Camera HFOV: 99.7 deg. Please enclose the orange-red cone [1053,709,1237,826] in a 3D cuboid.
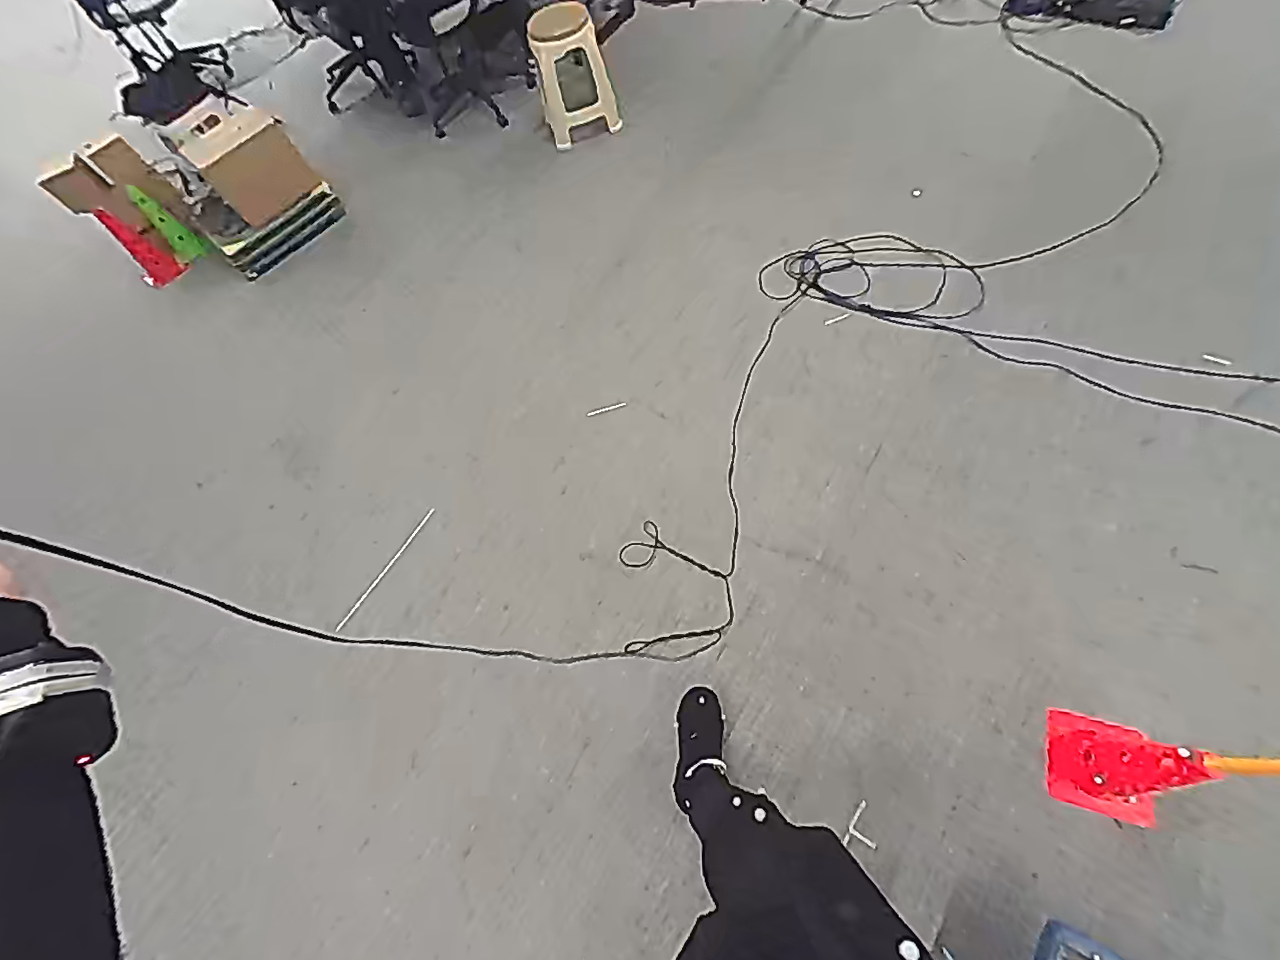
[{"bbox_3d":[1.013,0.559,1.065,0.198,0.360,0.199,12,65,17],"label":"orange-red cone"}]
